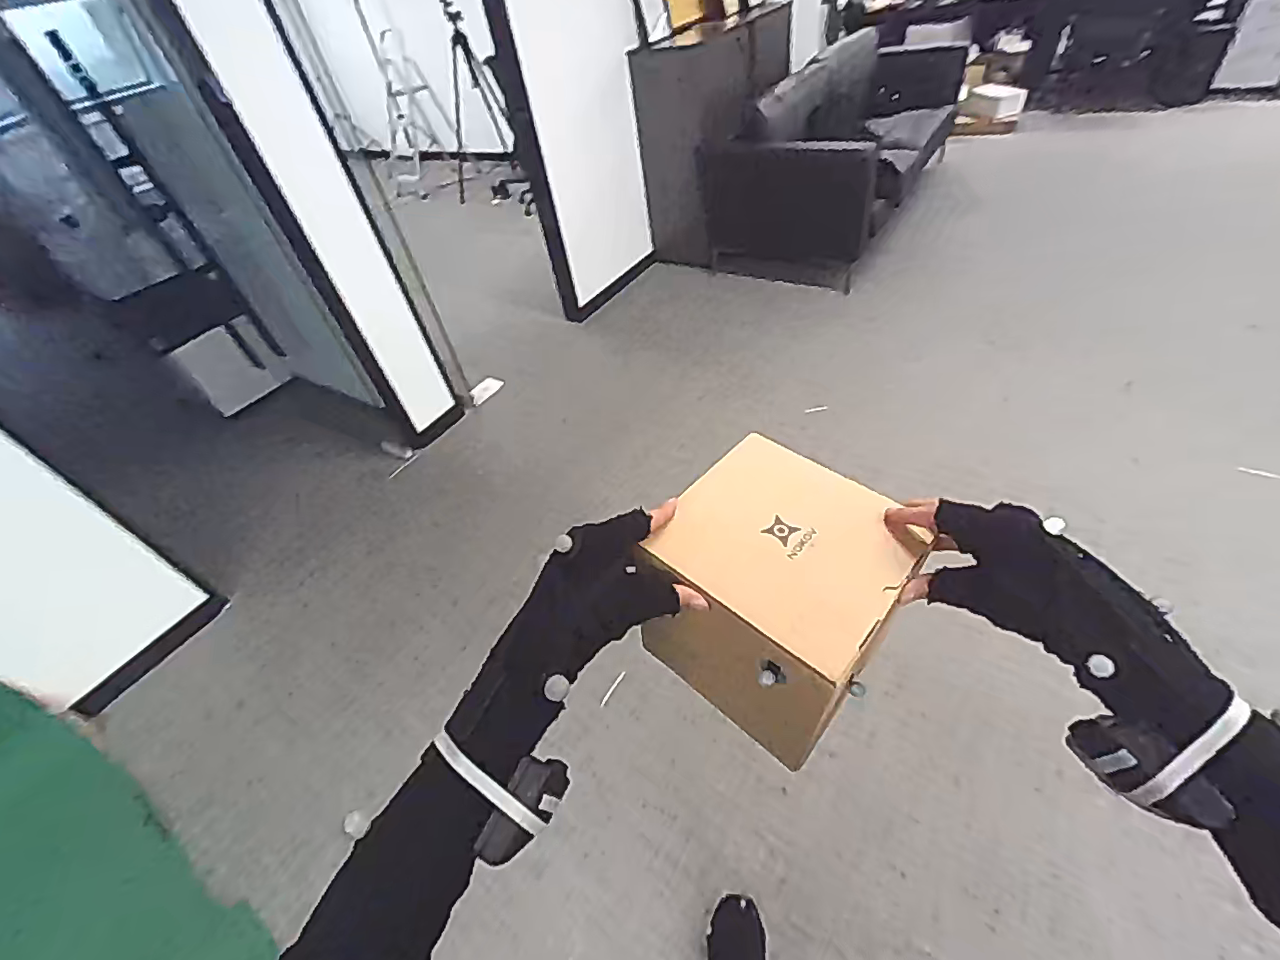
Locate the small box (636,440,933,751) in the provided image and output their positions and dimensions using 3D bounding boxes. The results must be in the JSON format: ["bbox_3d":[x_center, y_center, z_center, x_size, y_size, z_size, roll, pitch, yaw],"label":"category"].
[{"bbox_3d":[0.114,0.100,0.481,0.179,0.176,0.168,33,56,29],"label":"small box"}]
